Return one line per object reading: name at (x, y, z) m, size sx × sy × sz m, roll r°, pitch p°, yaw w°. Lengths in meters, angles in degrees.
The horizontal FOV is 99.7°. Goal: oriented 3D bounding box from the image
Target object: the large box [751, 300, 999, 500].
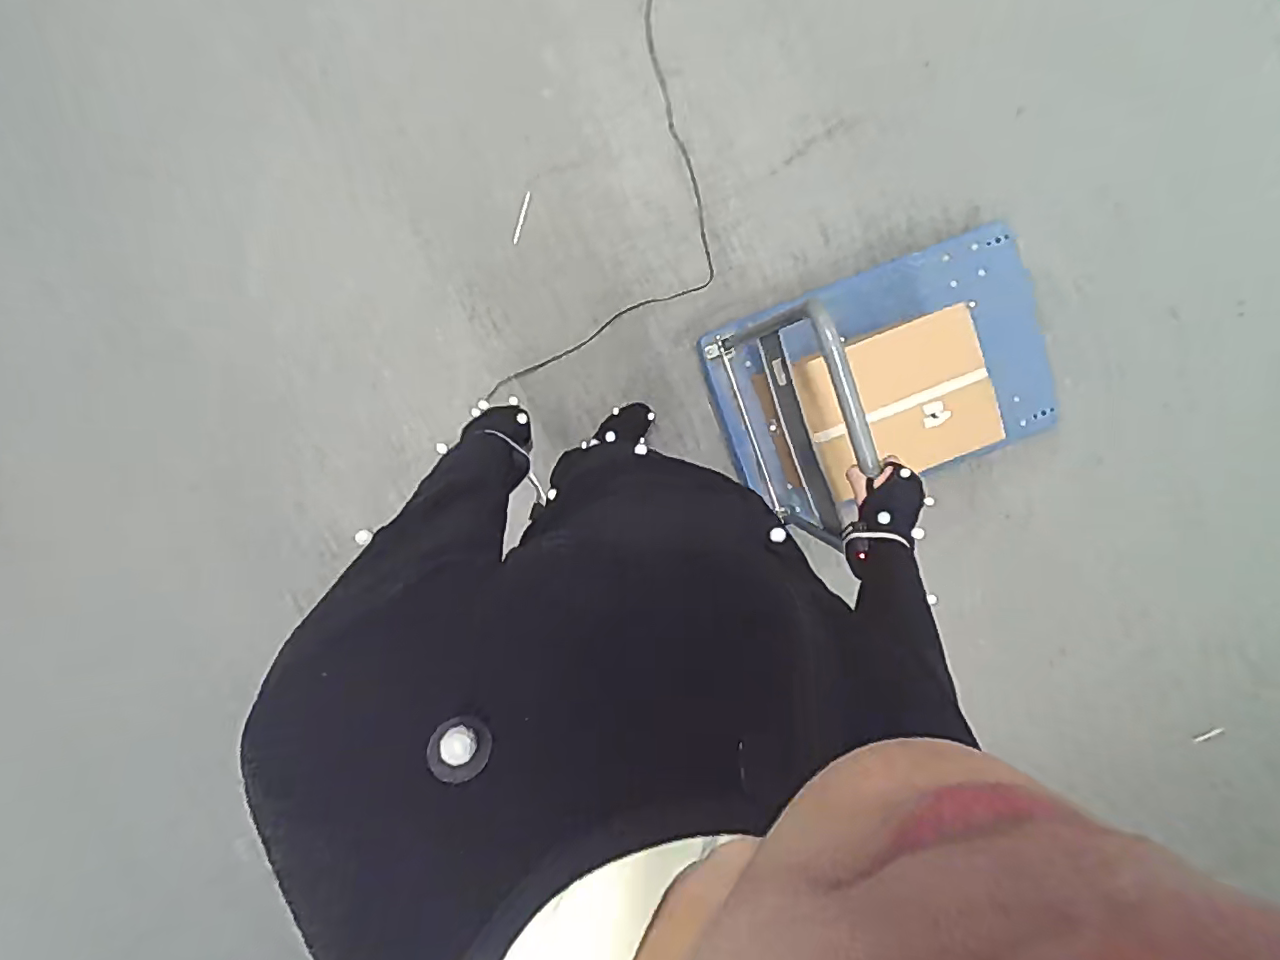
large box at (0.536, -0.183, 1.303) m, size 0.408 × 0.320 × 0.320 m, roll -22°, pitch 98°, yaw 0°
